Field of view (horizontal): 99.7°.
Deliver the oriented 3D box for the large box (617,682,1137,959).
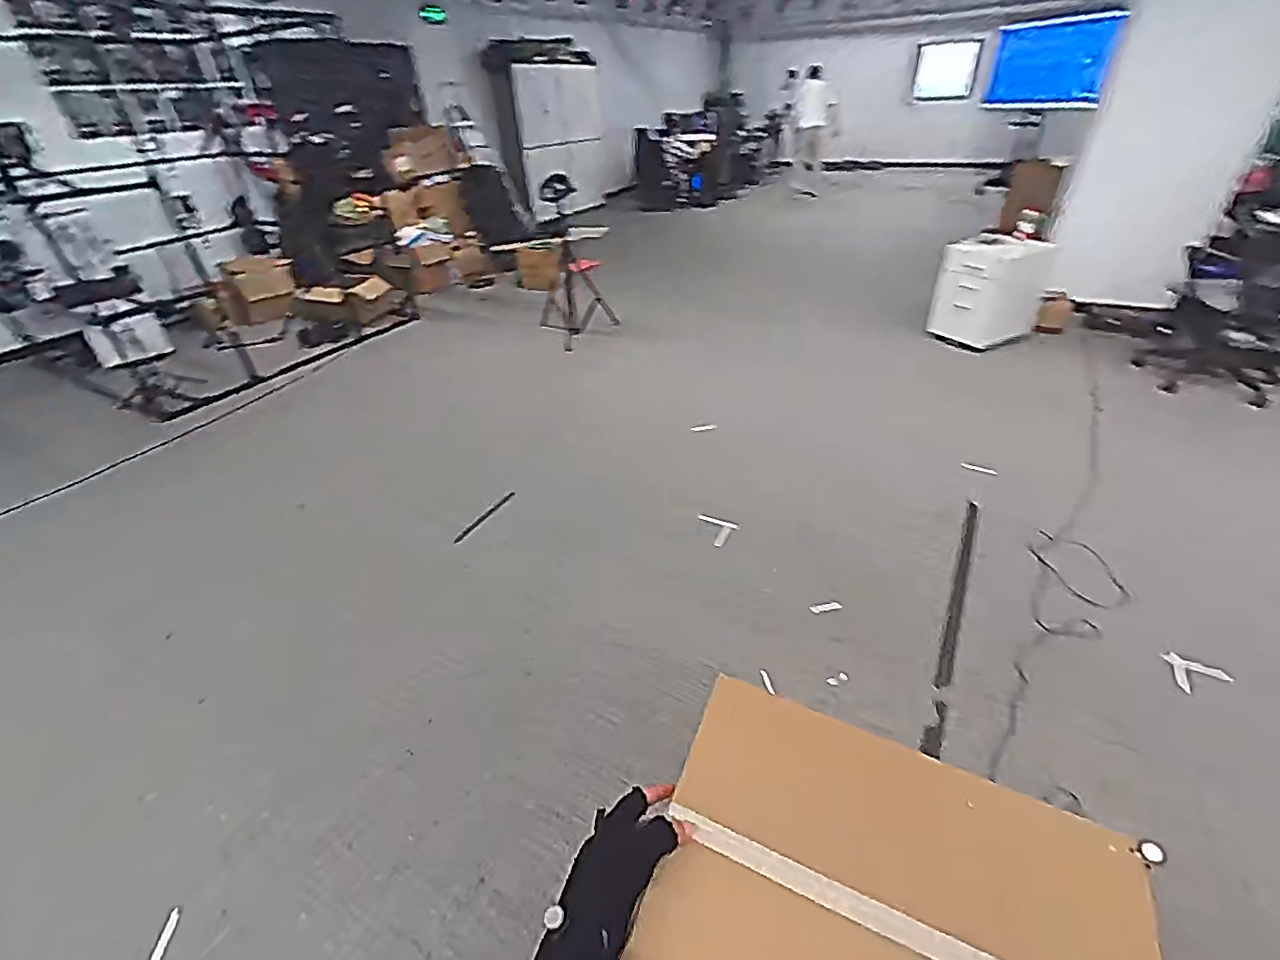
[{"bbox_3d":[0.210,0.490,0.576,0.408,0.320,0.320,16,46,18],"label":"large box"}]
